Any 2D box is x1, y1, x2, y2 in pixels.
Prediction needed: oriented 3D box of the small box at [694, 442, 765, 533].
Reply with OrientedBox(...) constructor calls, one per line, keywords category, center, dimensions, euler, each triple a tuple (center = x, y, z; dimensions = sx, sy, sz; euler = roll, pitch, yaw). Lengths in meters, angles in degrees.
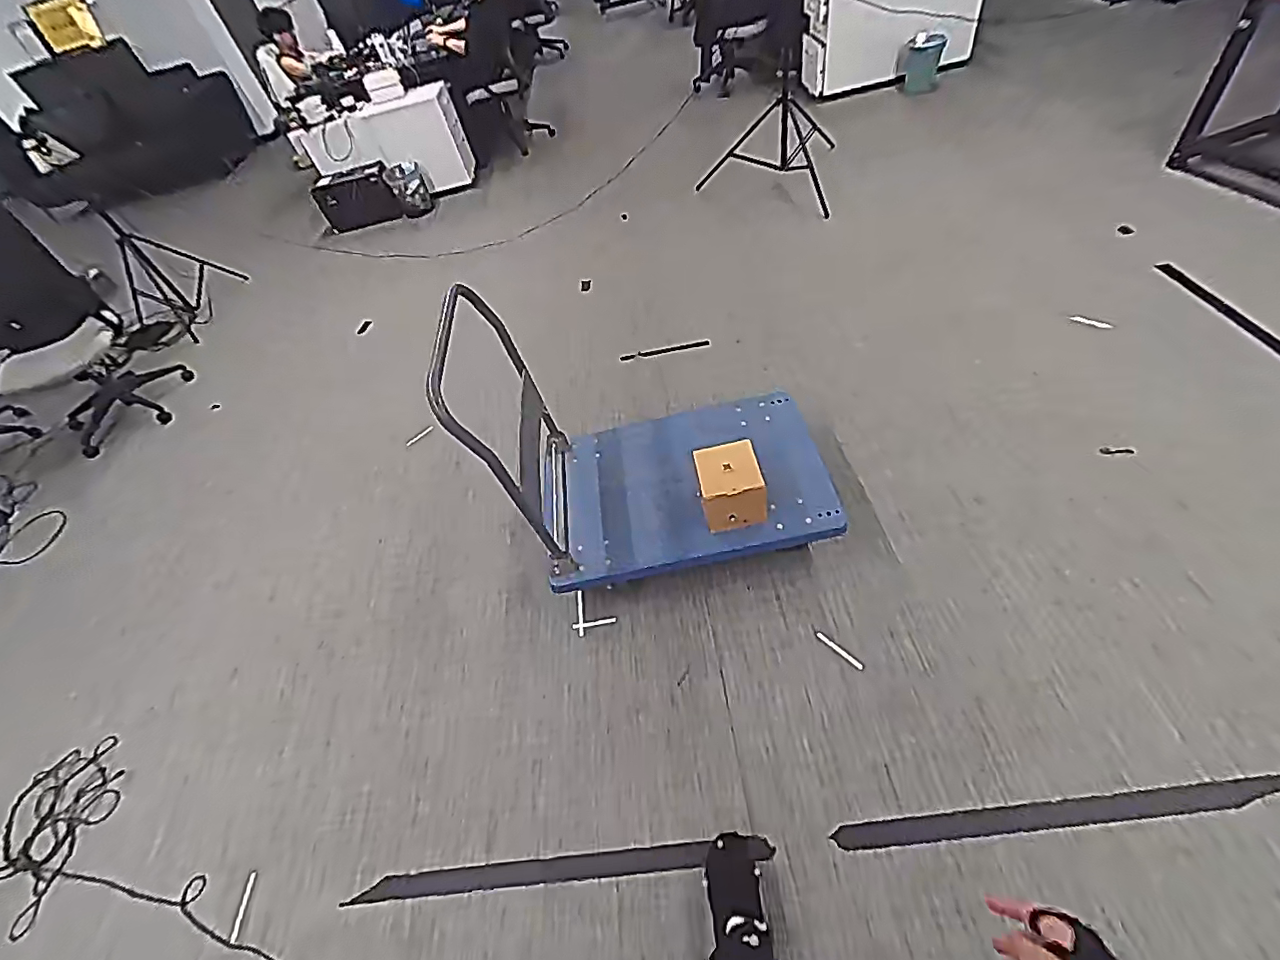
OrientedBox(category="small box", center=(0.253, 0.024, 1.533), dimensions=(0.168, 0.176, 0.179), euler=(-12, 49, 4))
